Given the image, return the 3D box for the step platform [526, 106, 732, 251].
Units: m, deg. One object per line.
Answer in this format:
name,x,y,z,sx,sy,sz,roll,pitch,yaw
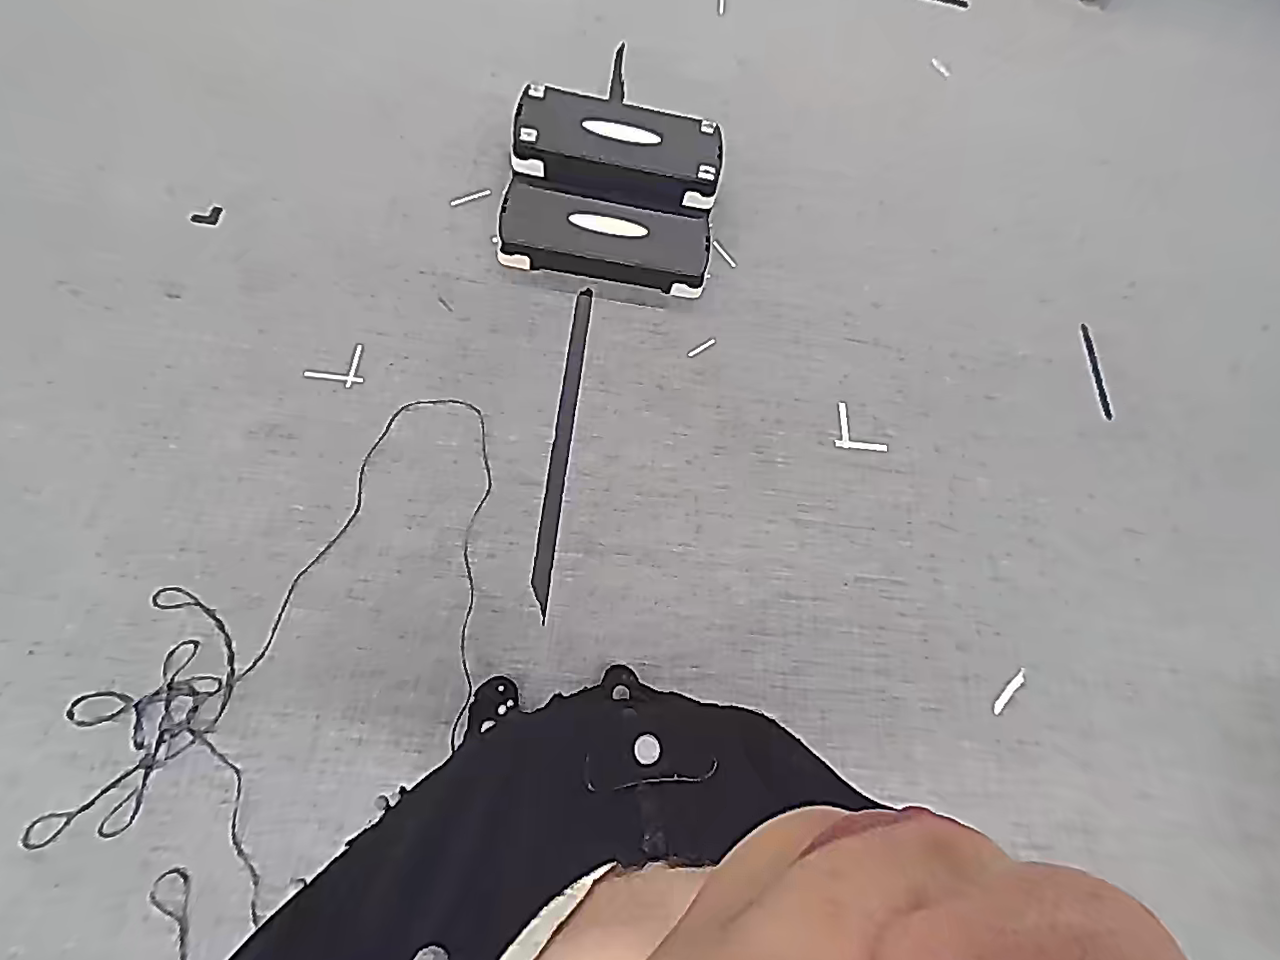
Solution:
step platform,-0.032,-1.018,1.832,0.684,0.204,0.286,12,68,-5
